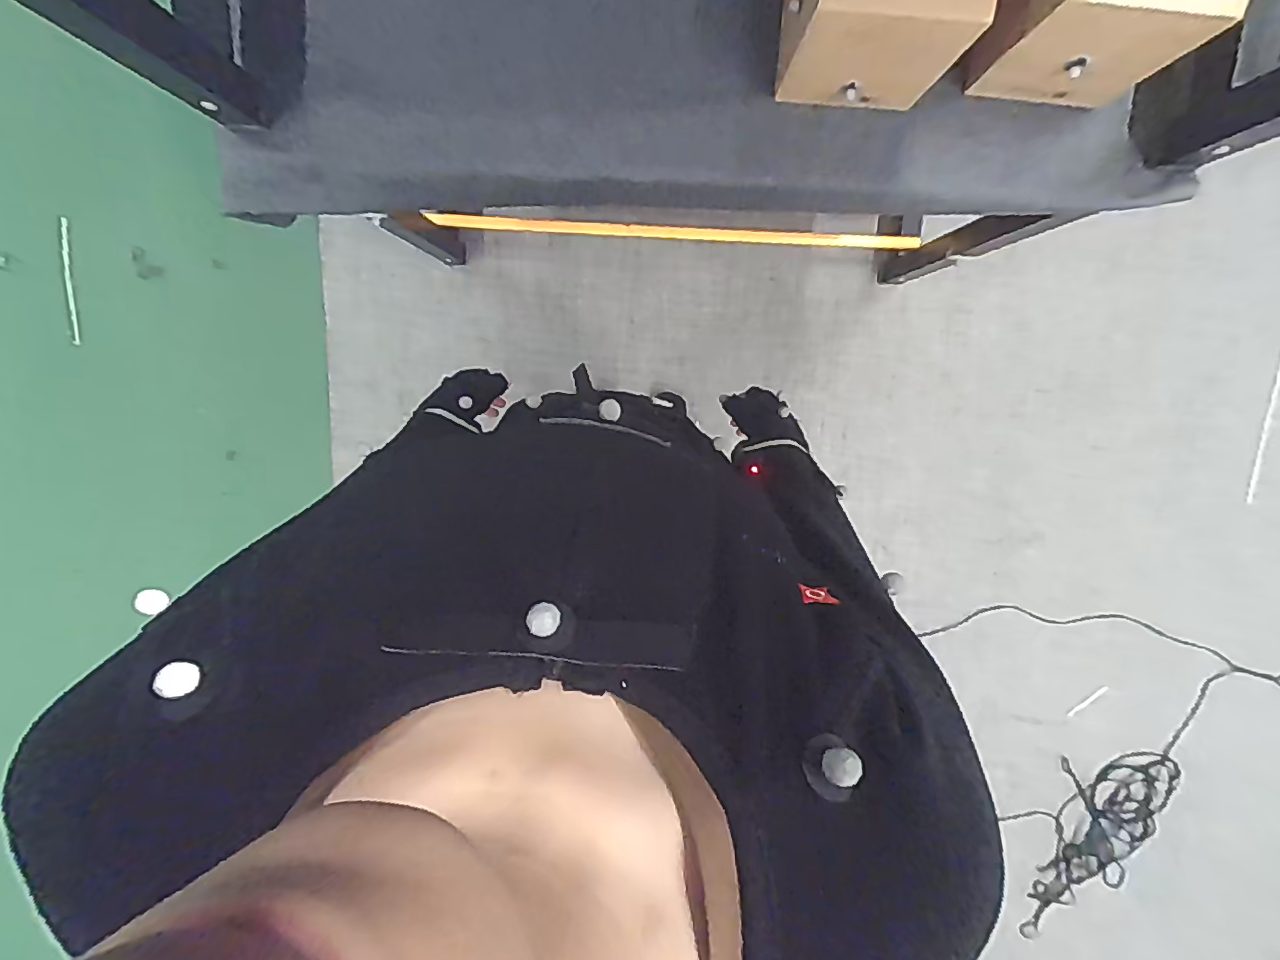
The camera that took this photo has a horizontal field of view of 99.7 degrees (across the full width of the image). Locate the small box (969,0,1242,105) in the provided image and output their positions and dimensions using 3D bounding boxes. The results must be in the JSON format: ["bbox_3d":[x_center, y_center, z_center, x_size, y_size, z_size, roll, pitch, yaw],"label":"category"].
[{"bbox_3d":[0.479,-0.528,0.562,0.168,0.176,0.179,6,100,-1],"label":"small box"}]
